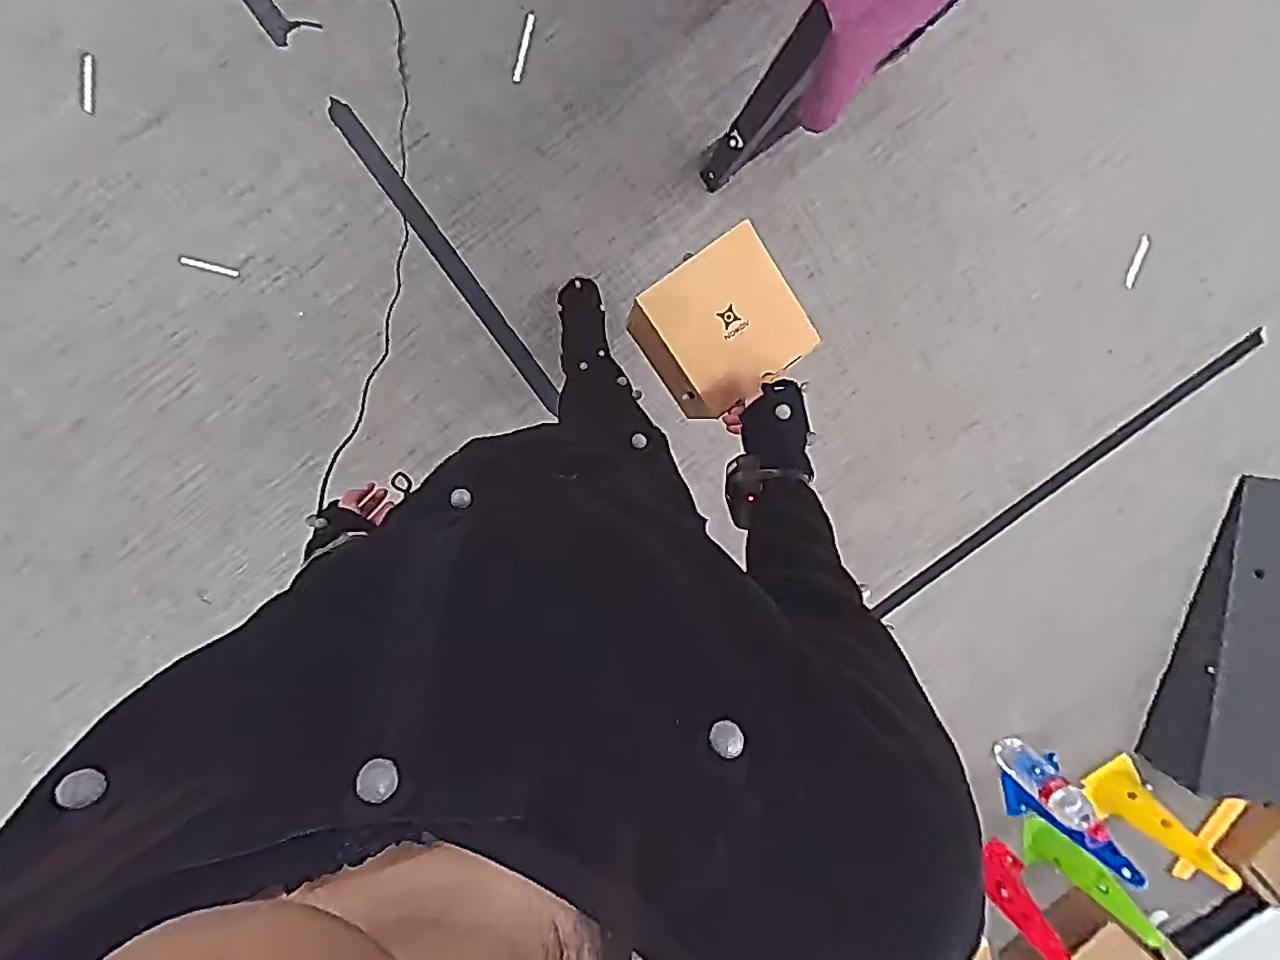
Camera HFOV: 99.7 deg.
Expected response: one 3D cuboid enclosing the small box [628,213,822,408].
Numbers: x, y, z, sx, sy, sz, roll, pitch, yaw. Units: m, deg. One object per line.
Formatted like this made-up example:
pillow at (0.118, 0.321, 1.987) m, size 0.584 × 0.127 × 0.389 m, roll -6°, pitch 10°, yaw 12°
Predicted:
small box at (0.100, -0.208, 0.722) m, size 0.168 × 0.176 × 0.179 m, roll -37°, pitch 100°, yaw -1°
